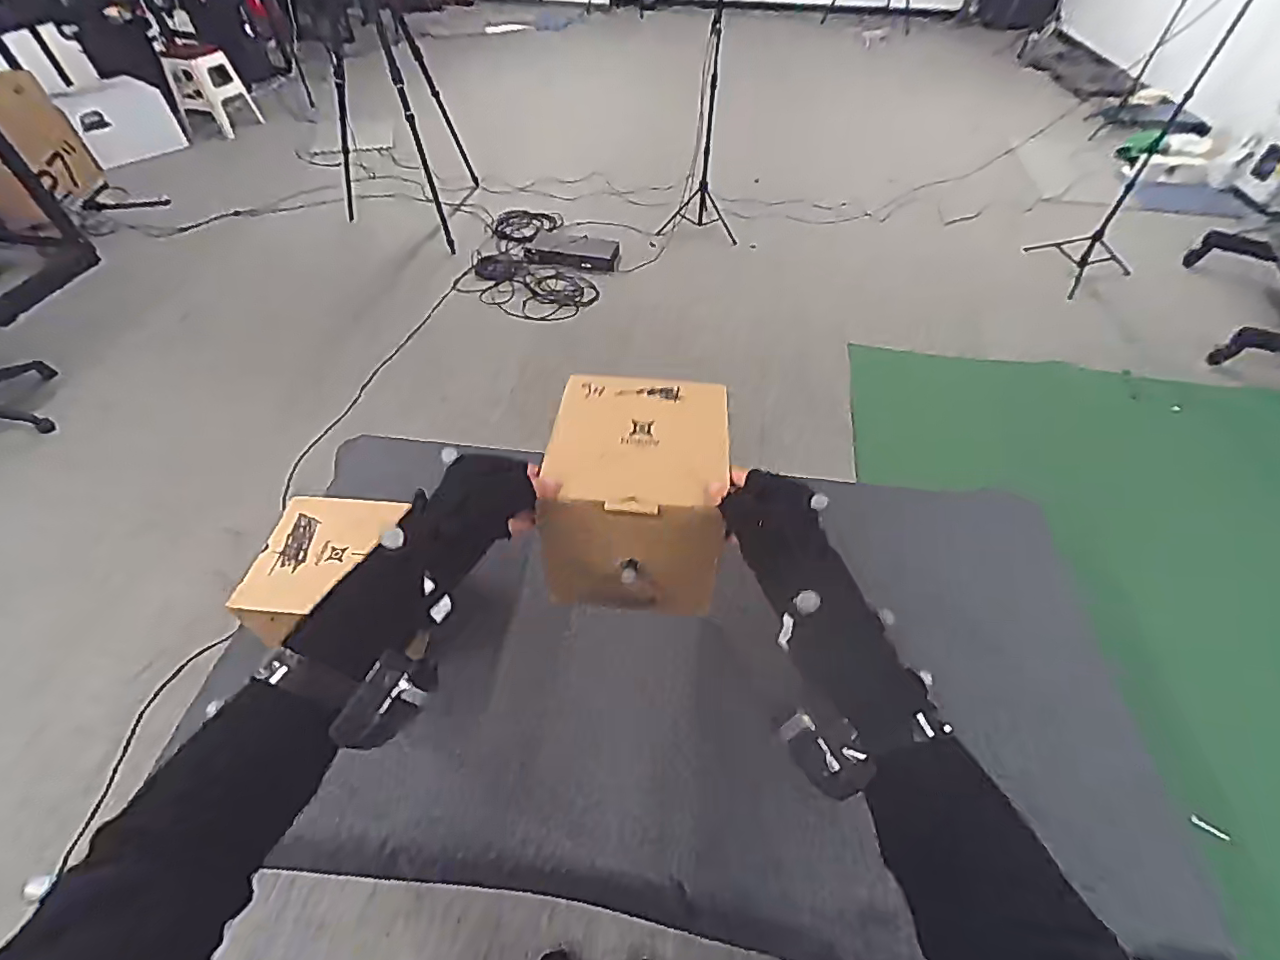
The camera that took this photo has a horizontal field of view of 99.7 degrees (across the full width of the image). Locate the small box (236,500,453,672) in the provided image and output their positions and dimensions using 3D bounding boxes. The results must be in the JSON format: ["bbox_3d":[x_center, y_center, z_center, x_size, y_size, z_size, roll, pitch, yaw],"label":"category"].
[{"bbox_3d":[-0.375,0.146,0.728,0.179,0.176,0.168,4,50,1],"label":"small box"}]

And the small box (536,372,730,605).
[{"bbox_3d":[0.001,0.012,0.559,0.168,0.176,0.179,4,47,2],"label":"small box"}]
